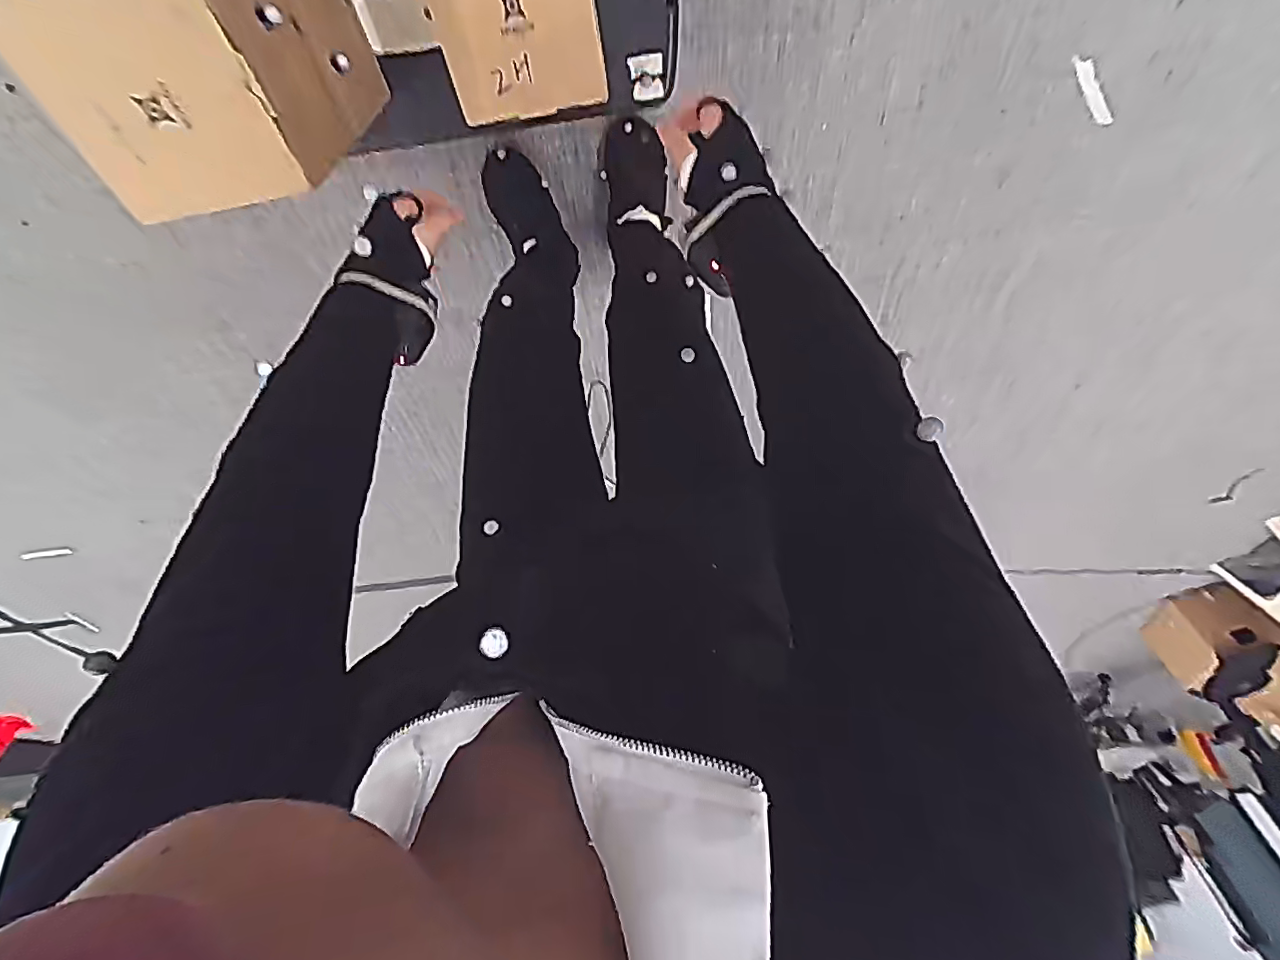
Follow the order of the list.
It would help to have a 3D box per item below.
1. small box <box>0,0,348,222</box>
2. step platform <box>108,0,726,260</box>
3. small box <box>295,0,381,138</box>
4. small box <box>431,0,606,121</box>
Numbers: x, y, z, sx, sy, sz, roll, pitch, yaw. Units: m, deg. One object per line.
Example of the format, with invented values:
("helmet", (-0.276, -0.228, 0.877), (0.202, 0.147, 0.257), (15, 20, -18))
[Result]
("small box", (-0.408, -0.377, 0.514), (0.179, 0.176, 0.168), (-10, 137, 3))
("step platform", (-0.257, -0.471, 0.621), (0.684, 0.204, 0.286), (-8, 138, 1))
("small box", (-0.422, -0.498, 0.623), (0.179, 0.176, 0.168), (-9, 138, 3))
("small box", (-0.135, -0.540, 0.612), (0.168, 0.176, 0.179), (-7, 138, 3))
